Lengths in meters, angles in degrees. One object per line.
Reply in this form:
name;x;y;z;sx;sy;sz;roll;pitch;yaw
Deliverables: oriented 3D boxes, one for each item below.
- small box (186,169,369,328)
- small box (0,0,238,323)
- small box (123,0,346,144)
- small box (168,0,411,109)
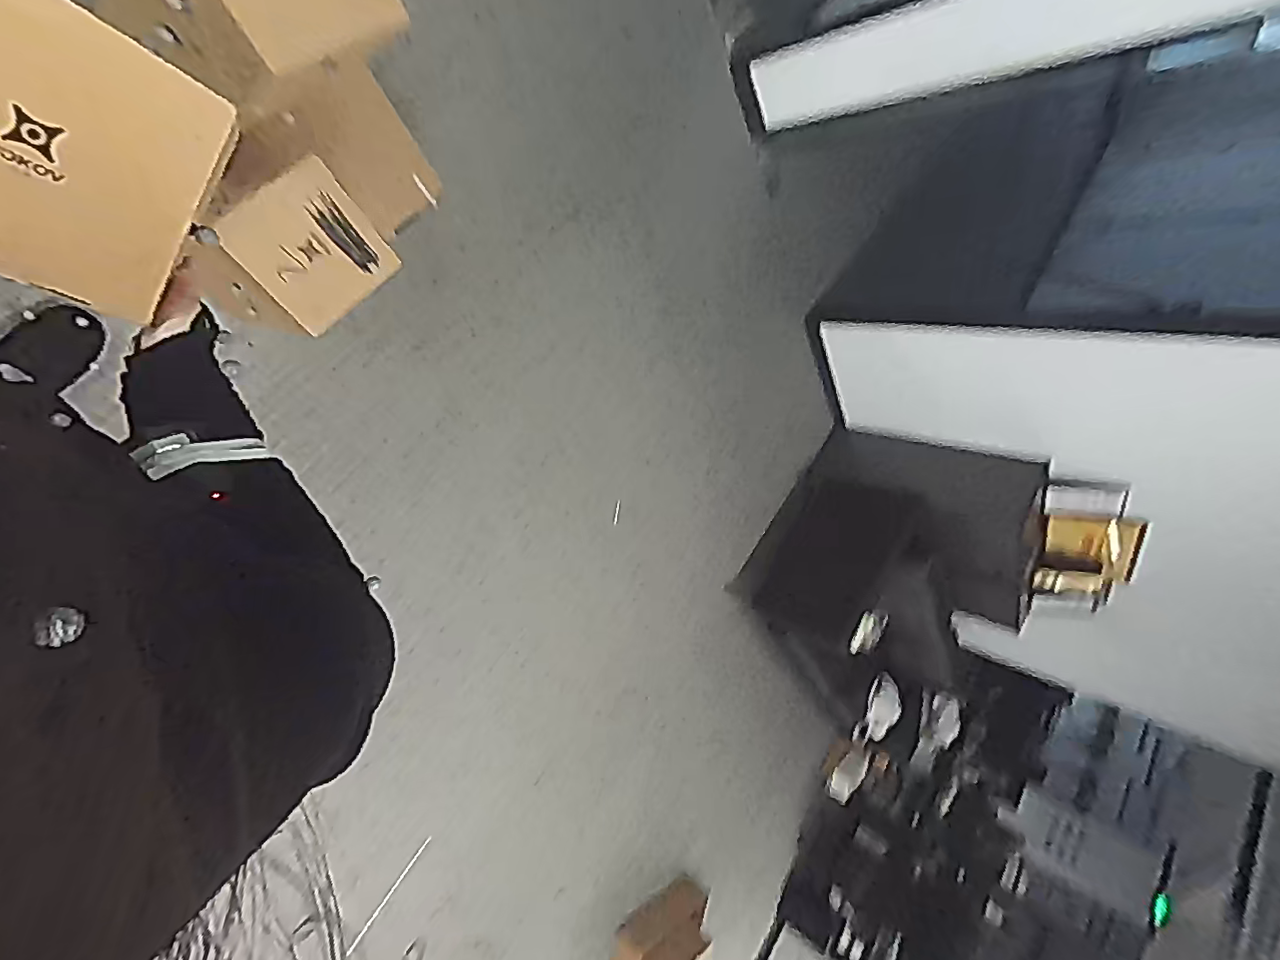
small box;-0.601;-0.378;0.898;0.168;0.176;0.179;-54;135;-20
small box;-0.424;-0.246;0.393;0.168;0.176;0.179;21;102;-43
small box;-0.504;-0.572;0.687;0.168;0.176;0.179;-53;132;-21
small box;-0.392;-0.531;0.577;0.179;0.176;0.168;-48;132;-25
